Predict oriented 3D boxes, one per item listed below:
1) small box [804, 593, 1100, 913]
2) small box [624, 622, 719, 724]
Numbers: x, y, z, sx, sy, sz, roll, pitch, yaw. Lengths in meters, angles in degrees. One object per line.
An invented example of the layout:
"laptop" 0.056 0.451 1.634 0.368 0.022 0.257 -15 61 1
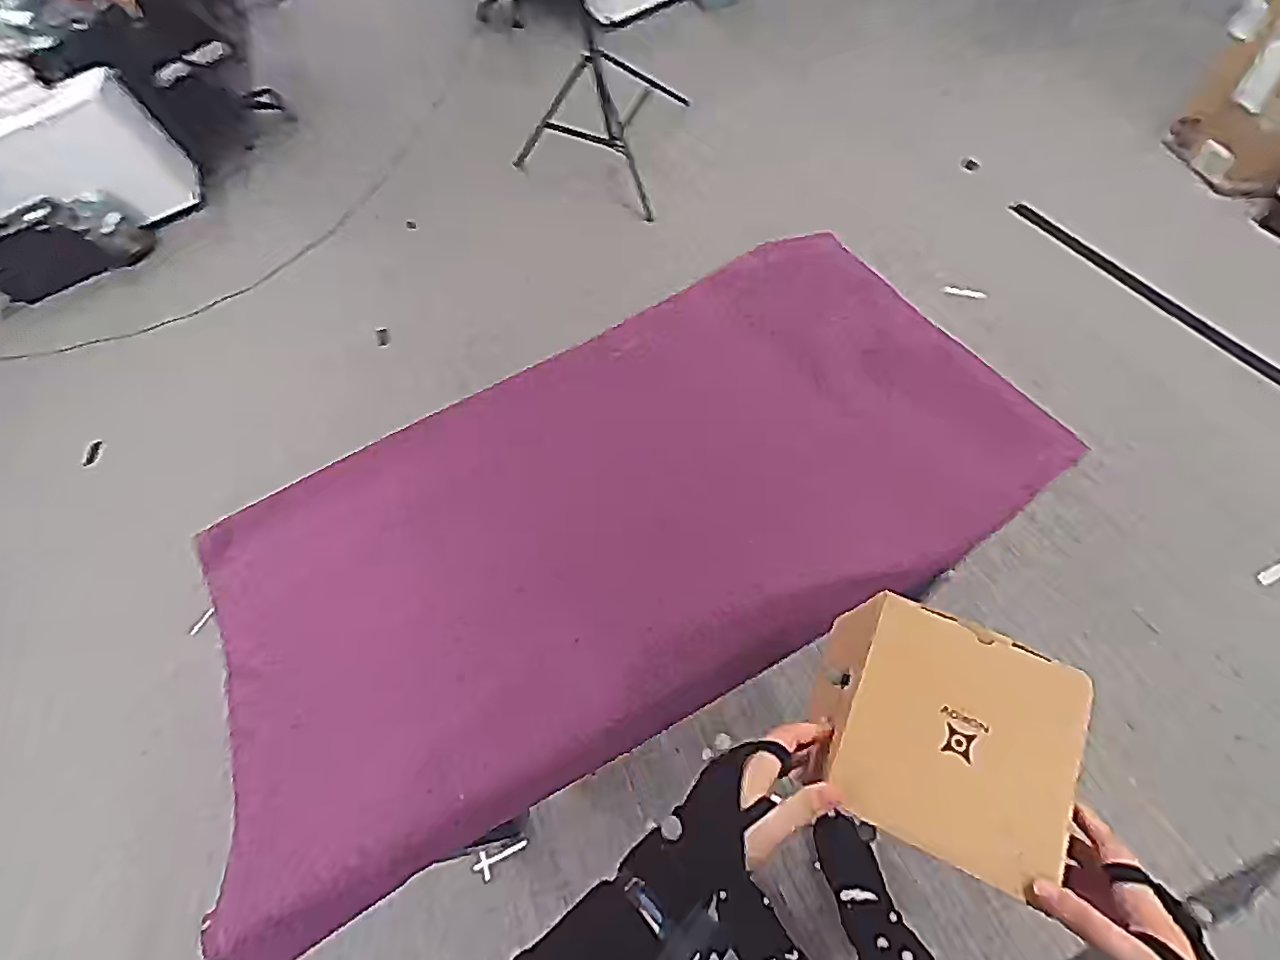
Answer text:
"small box" 0.263 0.232 0.495 0.168 0.176 0.179 23 70 15
"small box" 0.081 0.476 1.315 0.168 0.176 0.179 -26 59 -3
